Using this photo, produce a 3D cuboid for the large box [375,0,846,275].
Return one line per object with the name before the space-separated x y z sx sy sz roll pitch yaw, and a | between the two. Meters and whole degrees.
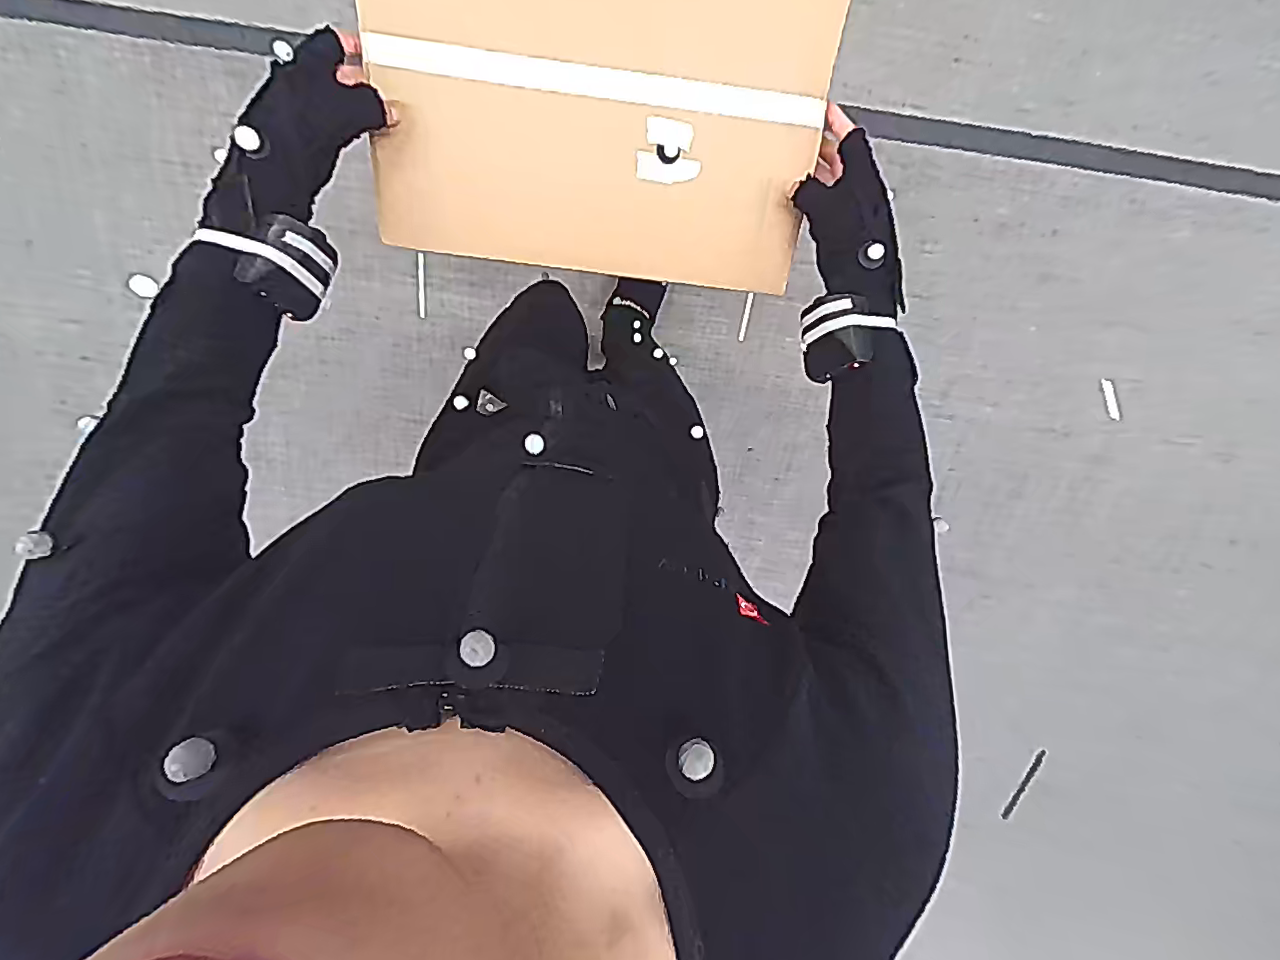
large box | -0.035 -0.429 0.610 0.408 0.320 0.320 5 118 -5
